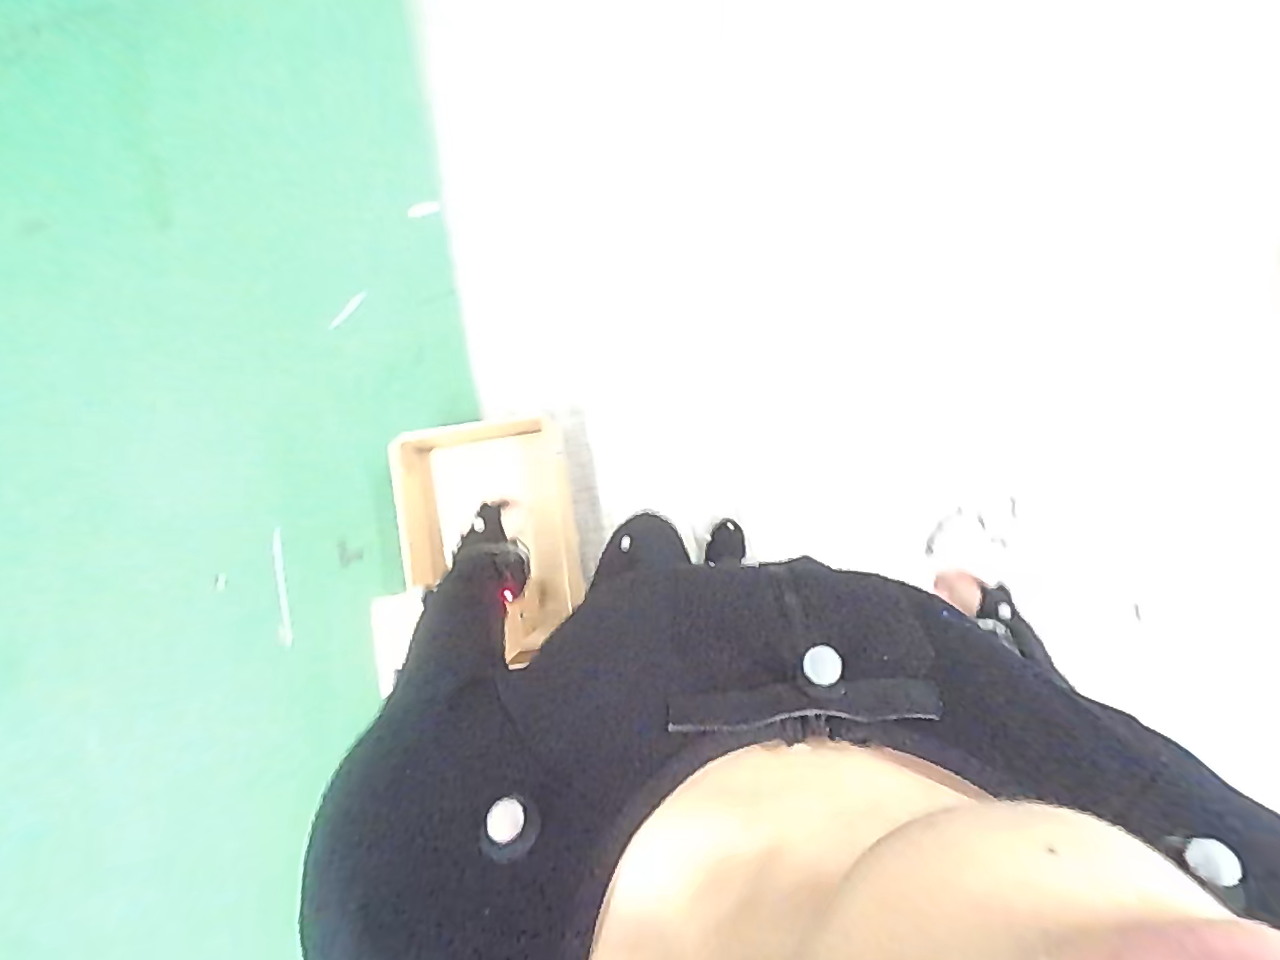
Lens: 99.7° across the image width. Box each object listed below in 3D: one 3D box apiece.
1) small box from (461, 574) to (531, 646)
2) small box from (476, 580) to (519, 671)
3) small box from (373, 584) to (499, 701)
[{"bbox_3d":[-0.383,0.339,1.368,0.179,0.176,0.168,-11,84,1],"label":"small box"},{"bbox_3d":[-0.378,0.327,1.204,0.168,0.176,0.179,-10,83,1],"label":"small box"},{"bbox_3d":[-0.384,0.301,1.041,0.168,0.176,0.179,-11,84,1],"label":"small box"}]
